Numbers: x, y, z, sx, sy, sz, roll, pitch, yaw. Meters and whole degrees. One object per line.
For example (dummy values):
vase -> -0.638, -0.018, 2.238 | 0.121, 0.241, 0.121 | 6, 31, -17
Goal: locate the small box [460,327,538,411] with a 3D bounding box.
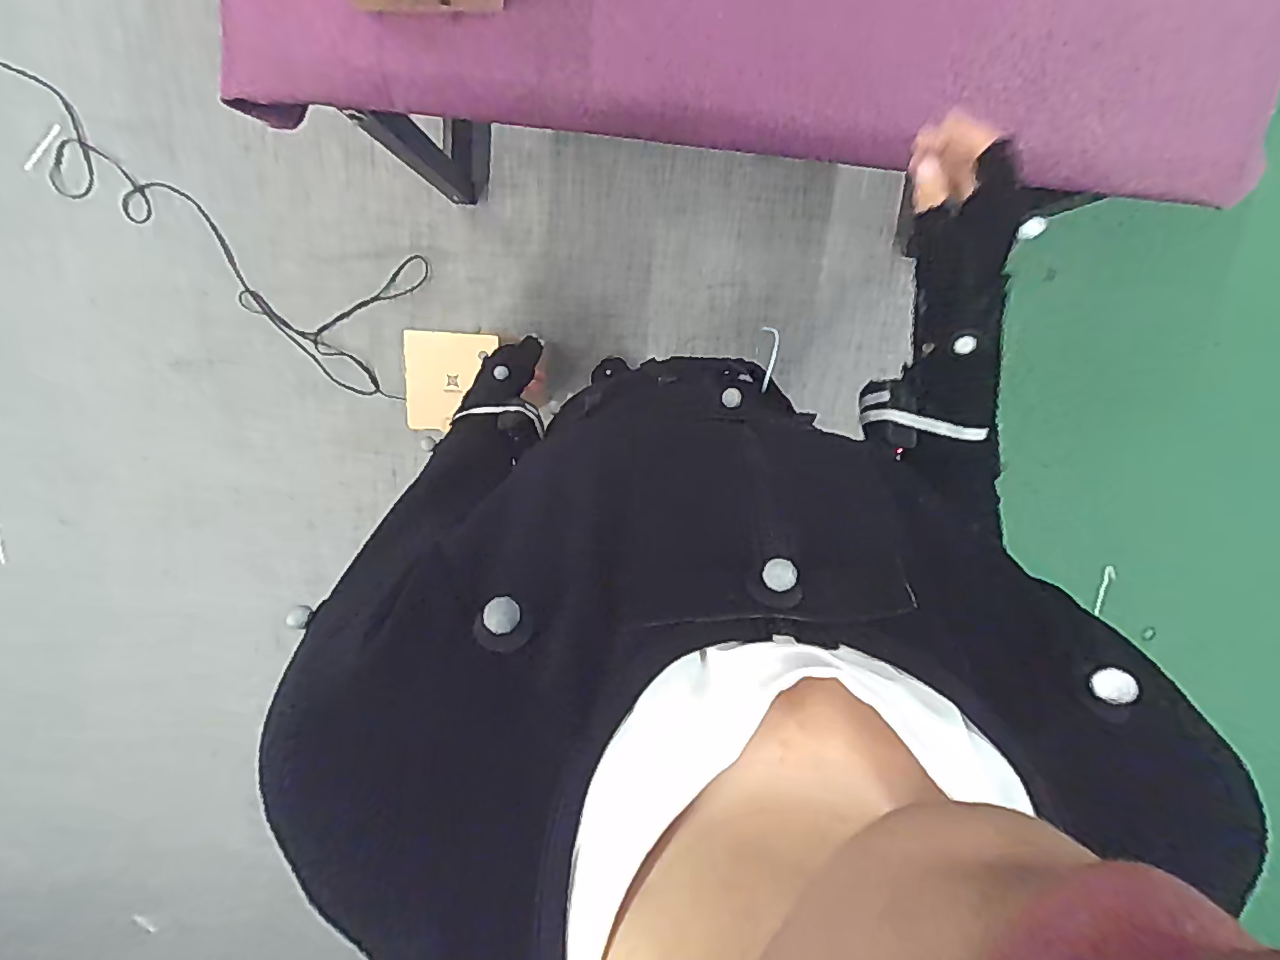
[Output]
small box -> -0.352, -0.276, 1.338 | 0.168, 0.176, 0.179 | 7, 104, -2

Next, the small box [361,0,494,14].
small box -> -0.239, -0.601, 0.515 | 0.168, 0.176, 0.179 | 1, 103, -2

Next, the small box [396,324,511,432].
small box -> -0.344, -0.197, 1.020 | 0.168, 0.176, 0.179 | 4, 106, -2
